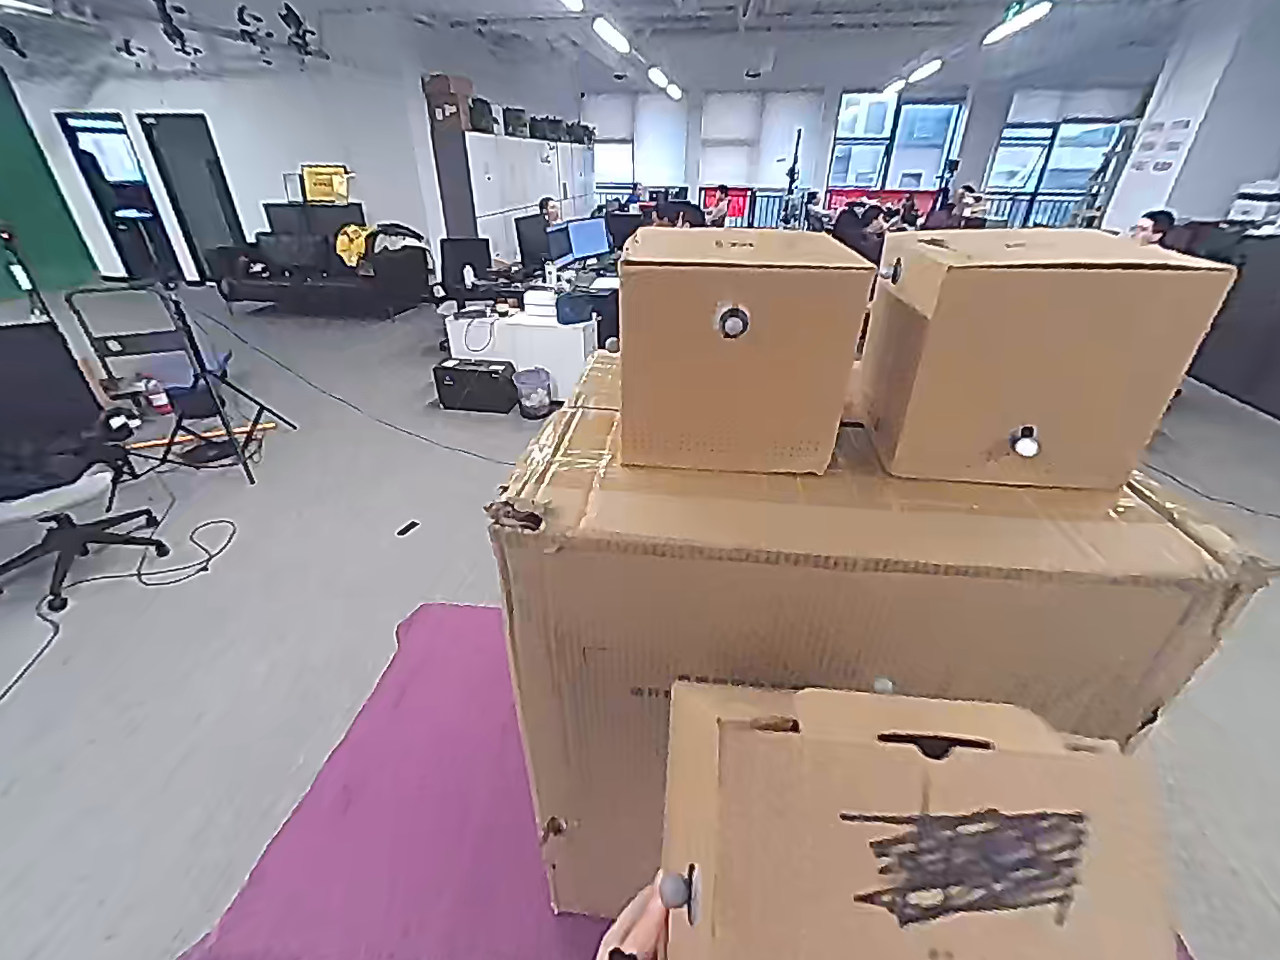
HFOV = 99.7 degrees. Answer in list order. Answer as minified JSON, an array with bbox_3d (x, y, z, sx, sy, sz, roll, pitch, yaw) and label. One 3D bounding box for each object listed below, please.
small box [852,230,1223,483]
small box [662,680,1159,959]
[{"bbox_3d":[0.300,-0.110,0.463,0.179,0.176,0.168,4,31,7],"label":"small box"},{"bbox_3d":[0.102,0.199,0.270,0.168,0.176,0.179,5,72,-1],"label":"small box"}]
